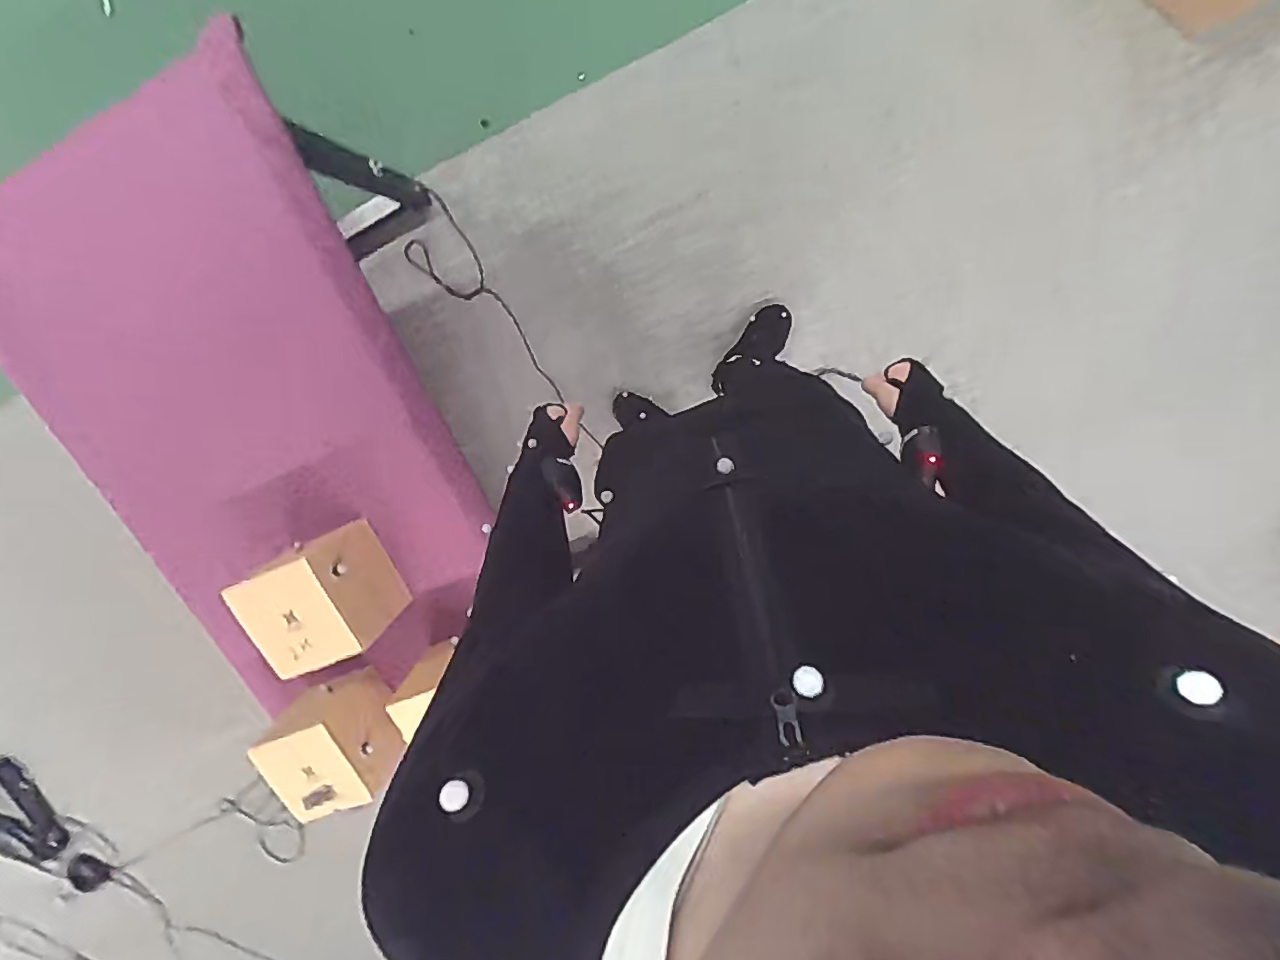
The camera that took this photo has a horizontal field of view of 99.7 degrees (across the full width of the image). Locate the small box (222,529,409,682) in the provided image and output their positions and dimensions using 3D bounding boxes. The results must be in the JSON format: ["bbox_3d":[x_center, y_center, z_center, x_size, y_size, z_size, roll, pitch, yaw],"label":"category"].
[{"bbox_3d":[-0.533,0.200,0.915,0.168,0.176,0.179,-21,104,11],"label":"small box"}]

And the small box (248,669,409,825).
[{"bbox_3d":[-0.562,0.492,1.011,0.168,0.176,0.179,-22,104,10],"label":"small box"}]

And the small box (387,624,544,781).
[{"bbox_3d":[-0.296,0.386,0.956,0.179,0.176,0.168,-23,106,13],"label":"small box"}]
